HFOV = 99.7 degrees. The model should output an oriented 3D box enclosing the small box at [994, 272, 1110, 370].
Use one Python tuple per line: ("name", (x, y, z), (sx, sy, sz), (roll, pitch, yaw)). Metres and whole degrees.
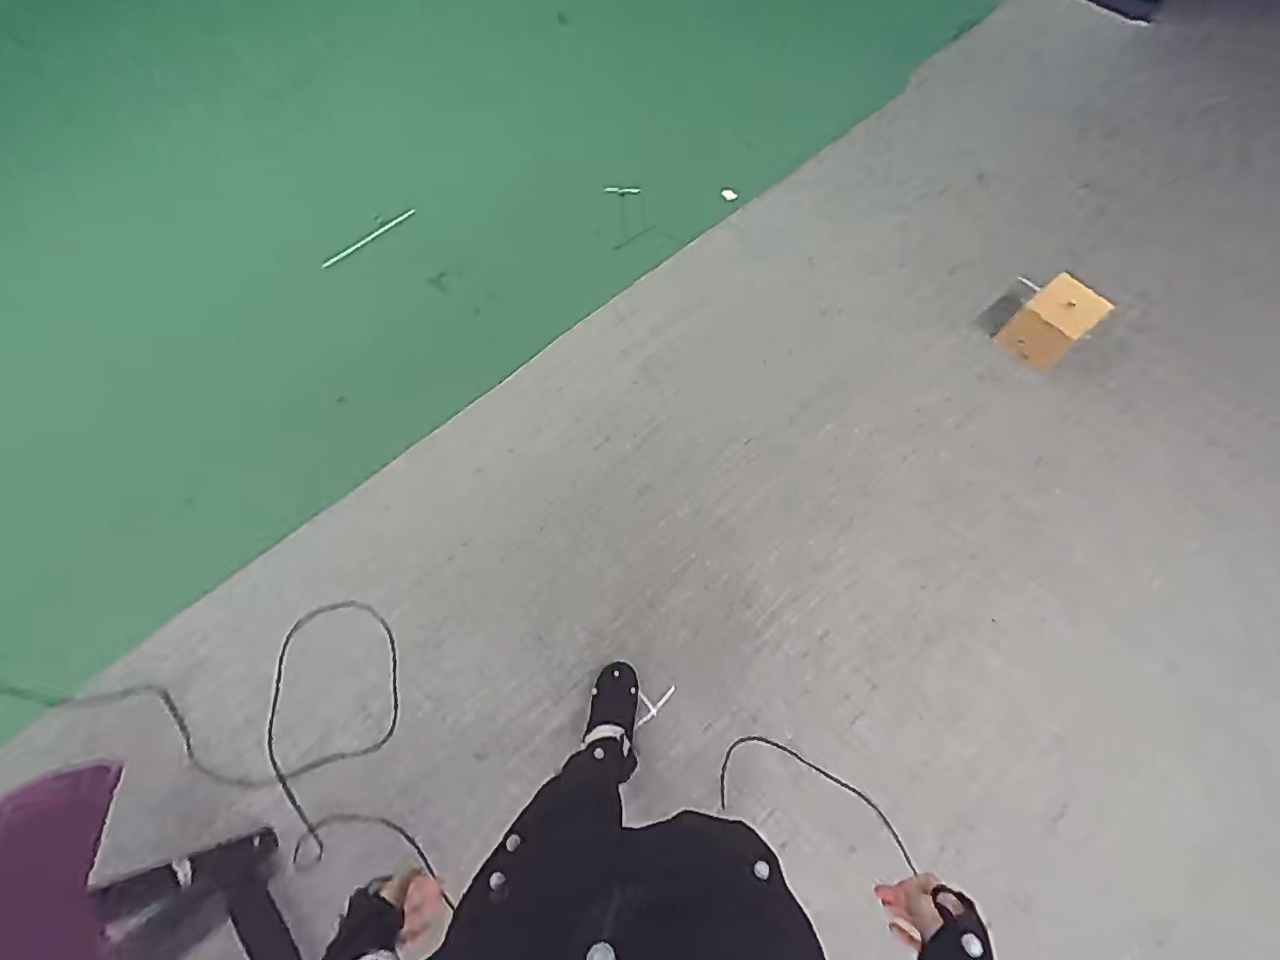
("small box", (1.186, -0.457, 1.572), (0.179, 0.176, 0.168), (-39, 72, -11))
